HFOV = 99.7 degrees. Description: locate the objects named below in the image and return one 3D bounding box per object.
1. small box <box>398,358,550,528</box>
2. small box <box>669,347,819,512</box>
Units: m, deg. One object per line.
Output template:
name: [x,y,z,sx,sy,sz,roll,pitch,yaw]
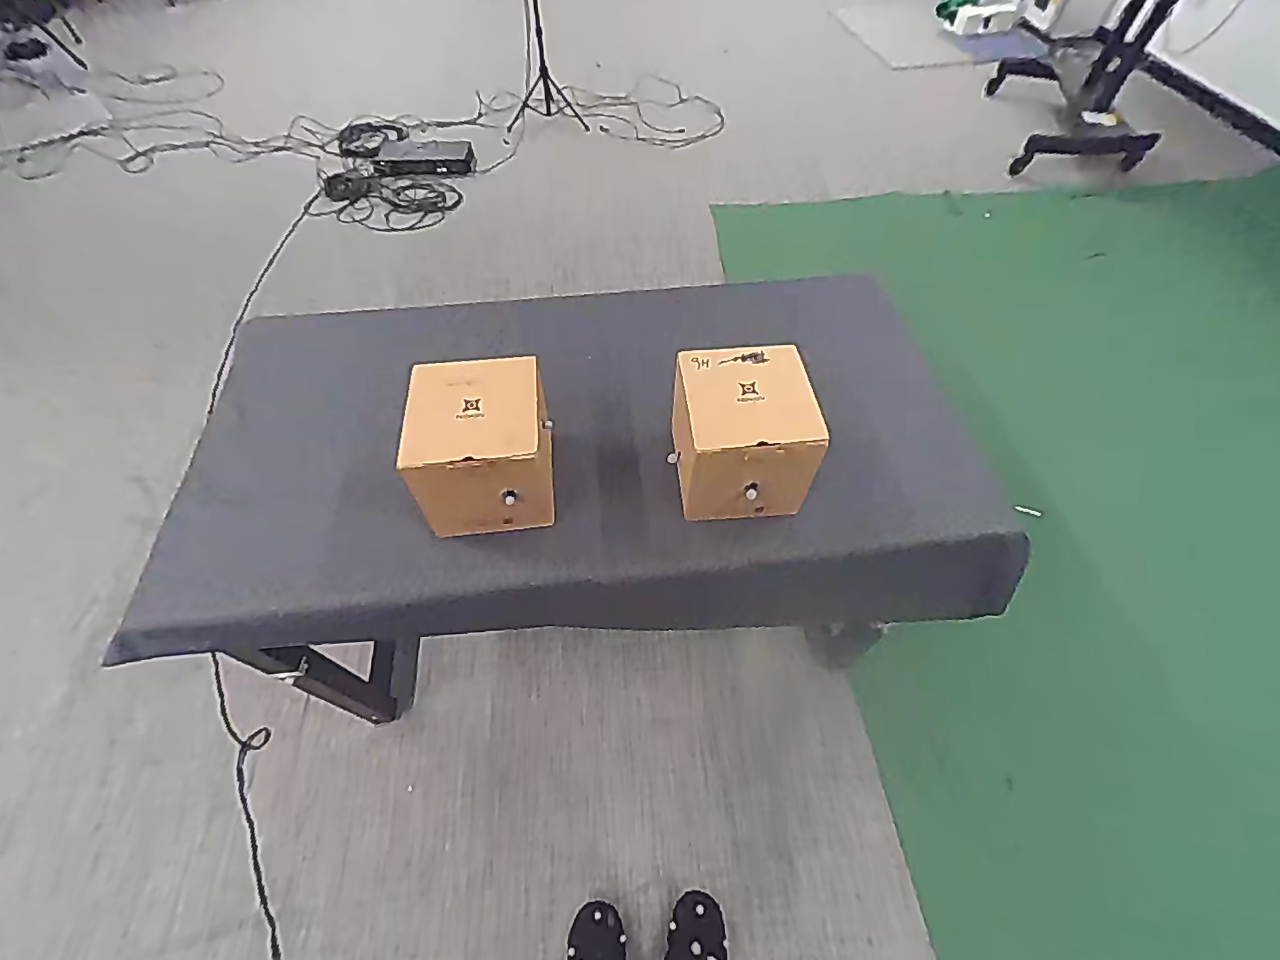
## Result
small box: [-0.218,-0.045,0.754,0.168,0.176,0.179,-5,54,-6]
small box: [0.133,-0.064,0.770,0.168,0.176,0.179,-4,56,-3]
